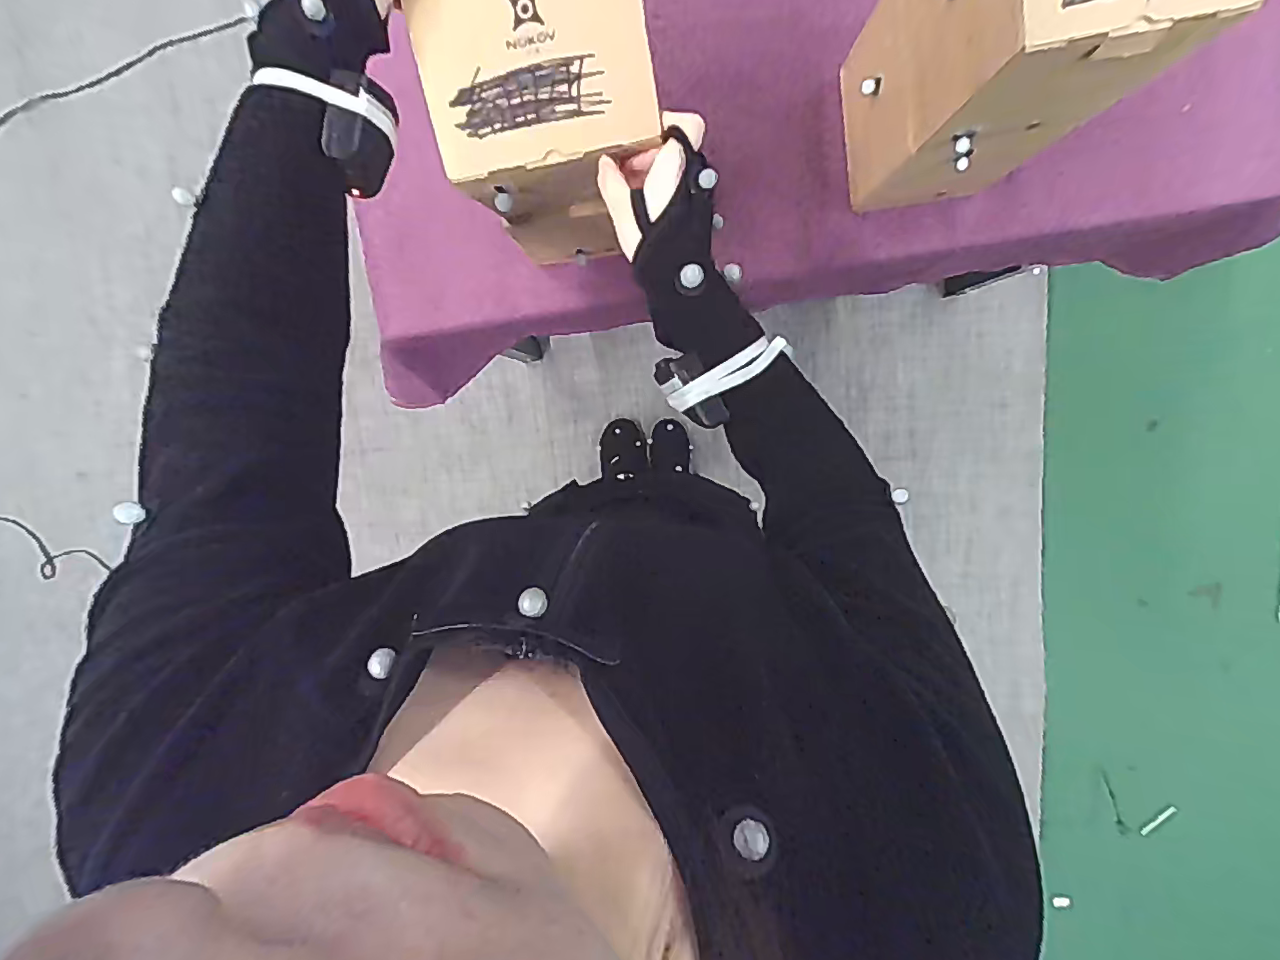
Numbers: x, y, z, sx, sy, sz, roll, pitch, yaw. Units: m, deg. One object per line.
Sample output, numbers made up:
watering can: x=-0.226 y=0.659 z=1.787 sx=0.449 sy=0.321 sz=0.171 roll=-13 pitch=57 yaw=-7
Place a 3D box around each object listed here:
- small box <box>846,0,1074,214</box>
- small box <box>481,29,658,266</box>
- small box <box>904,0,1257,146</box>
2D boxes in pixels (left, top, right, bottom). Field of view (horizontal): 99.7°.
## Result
small box: x=0.345 y=-0.430 z=0.613 sx=0.168 sy=0.176 sz=0.179 roll=-7 pitch=97 yaw=4
small box: x=-0.071 y=-0.371 z=0.636 sx=0.168 sy=0.176 sz=0.179 roll=-7 pitch=99 yaw=3
small box: x=0.340 y=-0.407 z=0.450 sx=0.168 sy=0.176 sz=0.179 roll=-8 pitch=98 yaw=3
